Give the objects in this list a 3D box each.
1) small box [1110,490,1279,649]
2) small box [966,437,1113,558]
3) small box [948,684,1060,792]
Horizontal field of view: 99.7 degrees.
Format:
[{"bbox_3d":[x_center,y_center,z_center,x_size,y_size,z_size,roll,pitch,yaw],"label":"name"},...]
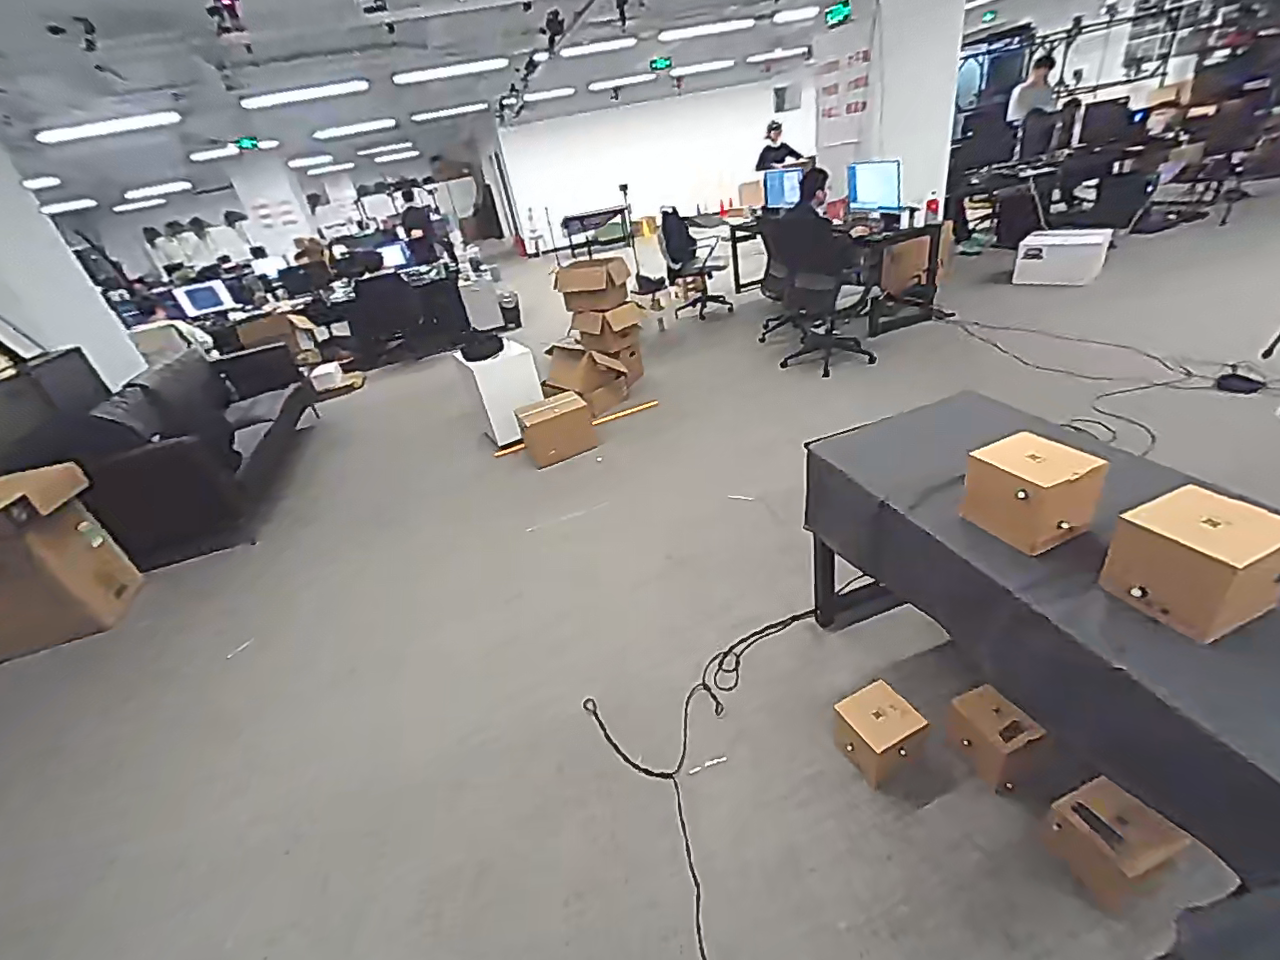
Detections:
[{"bbox_3d":[0.943,0.147,0.904,0.179,0.176,0.168,-19,30,-12],"label":"small box"},{"bbox_3d":[0.823,0.035,1.134,0.168,0.176,0.179,-19,32,-14],"label":"small box"},{"bbox_3d":[0.953,0.687,1.431,0.168,0.176,0.179,-18,30,-11],"label":"small box"}]
